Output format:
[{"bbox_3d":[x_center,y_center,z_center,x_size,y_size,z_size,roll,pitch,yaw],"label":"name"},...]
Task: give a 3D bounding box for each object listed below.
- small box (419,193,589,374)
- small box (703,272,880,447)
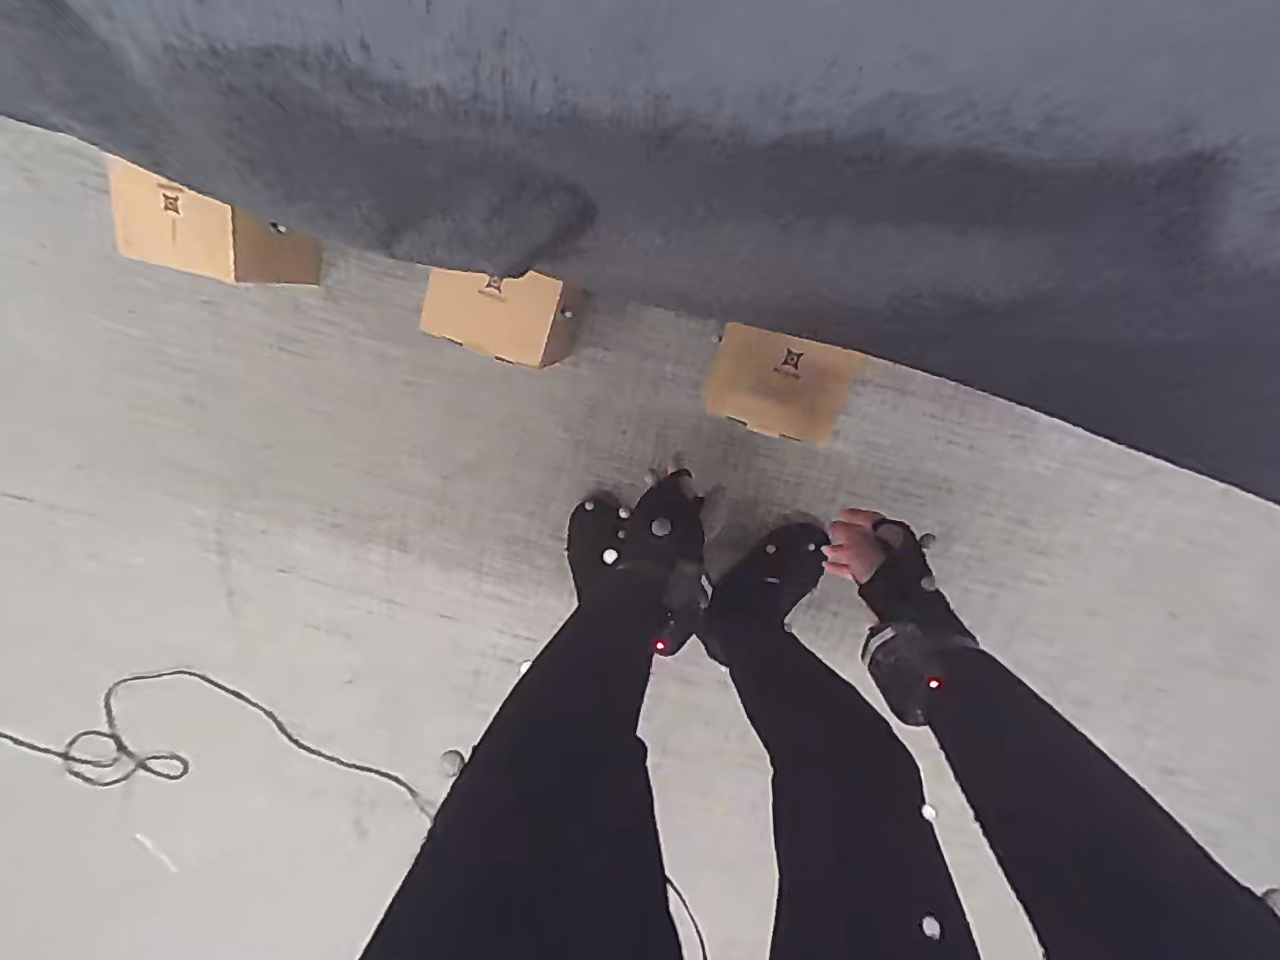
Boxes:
[{"bbox_3d":[-0.177,-0.262,0.744,0.168,0.176,0.179,18,108,-2],"label":"small box"},{"bbox_3d":[0.191,-0.167,0.737,0.168,0.176,0.179,17,108,0],"label":"small box"}]
